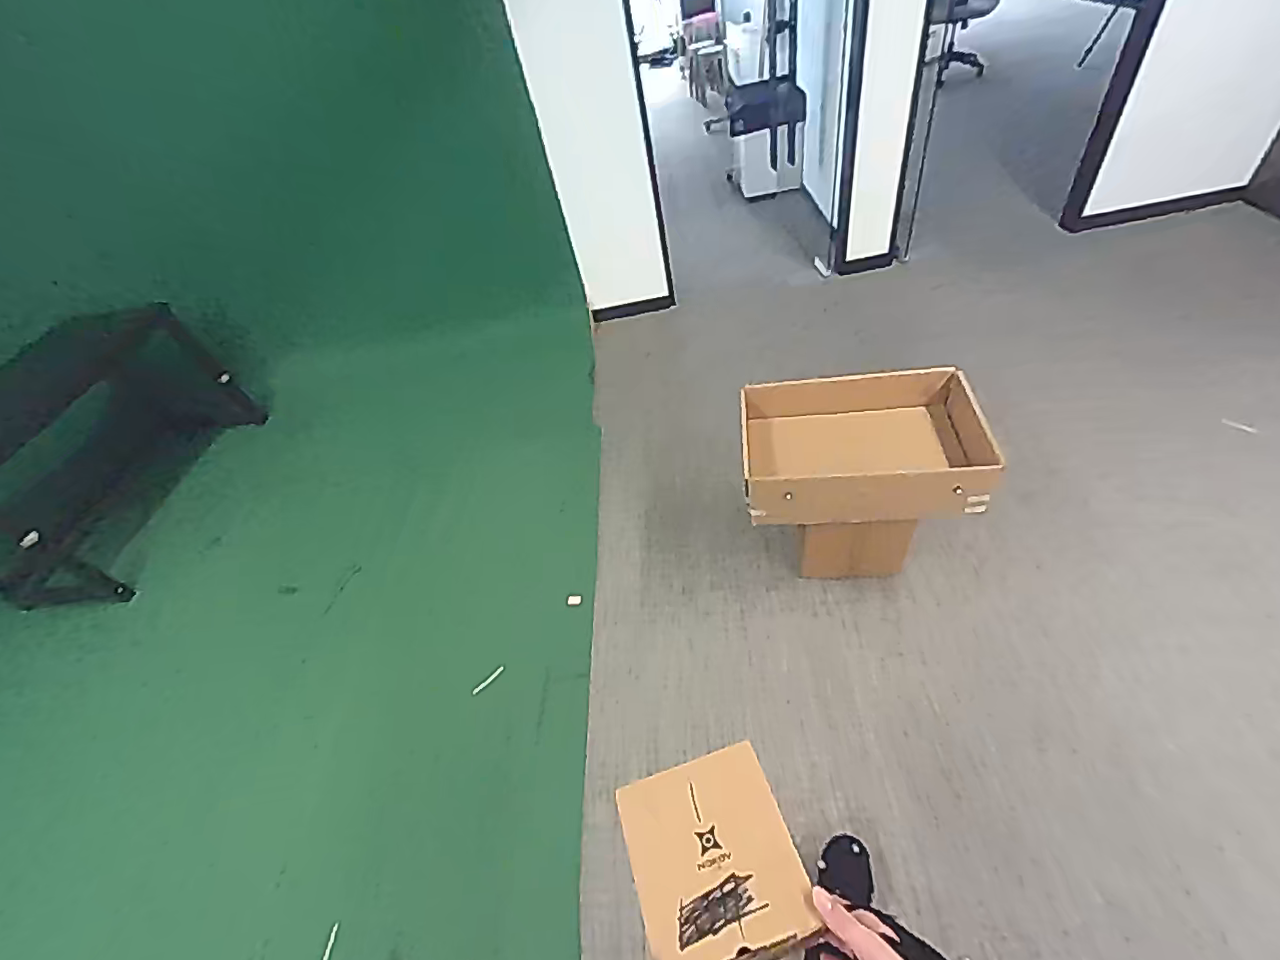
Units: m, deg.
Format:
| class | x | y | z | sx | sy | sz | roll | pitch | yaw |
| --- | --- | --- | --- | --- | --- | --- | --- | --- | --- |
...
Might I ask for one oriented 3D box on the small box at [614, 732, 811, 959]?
| class | x | y | z | sx | sy | sz | roll | pitch | yaw |
| --- | --- | --- | --- | --- | --- | --- | --- | --- | --- |
| small box | 0.083 | 0.429 | 0.624 | 0.168 | 0.176 | 0.179 | -18 | 44 | -3 |
